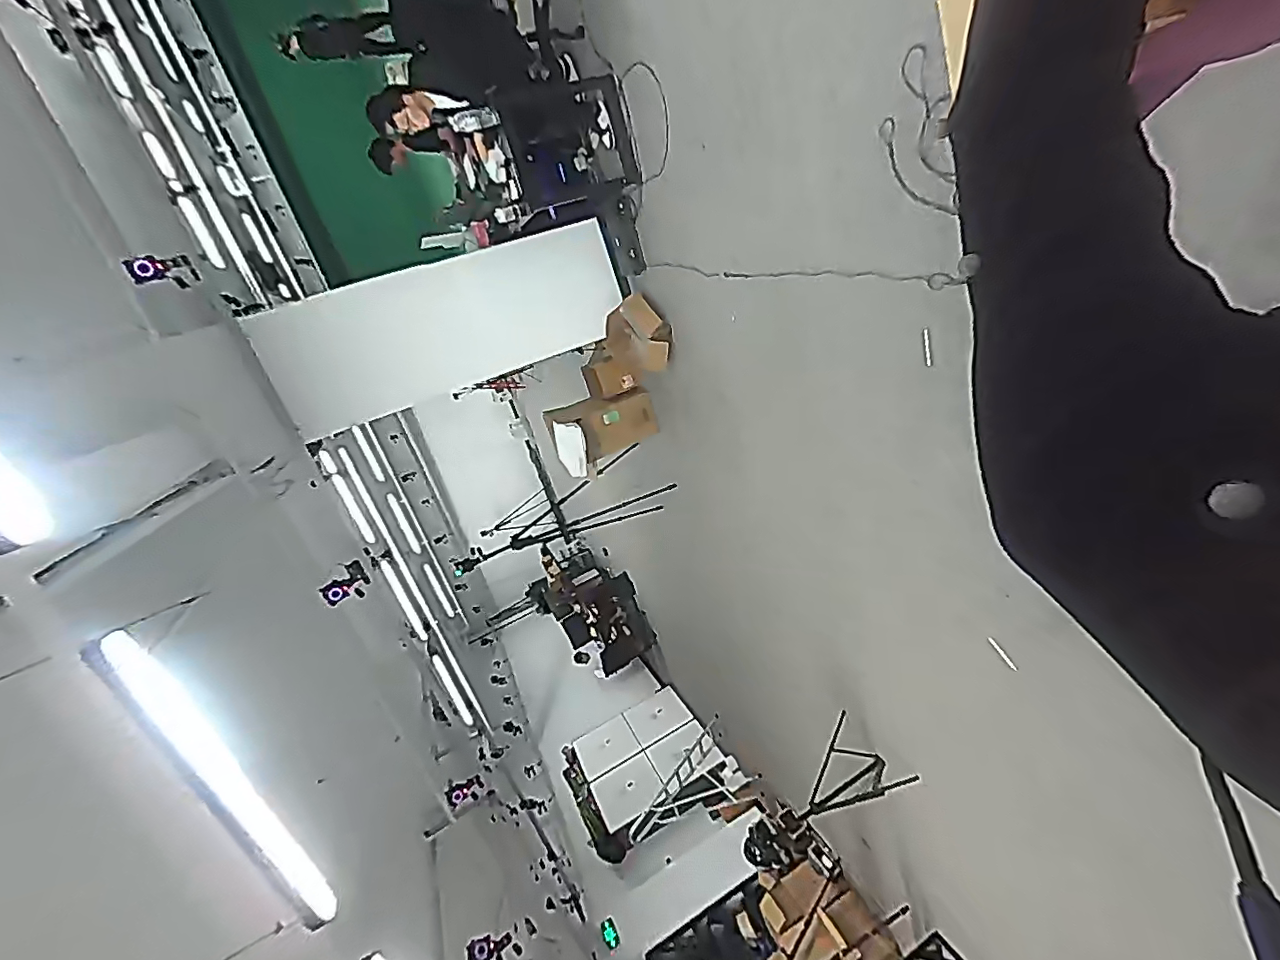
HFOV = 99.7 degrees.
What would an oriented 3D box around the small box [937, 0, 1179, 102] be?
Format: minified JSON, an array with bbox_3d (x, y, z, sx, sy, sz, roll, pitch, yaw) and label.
[{"bbox_3d":[0.490,-0.588,0.639,0.179,0.176,0.168,21,133,66],"label":"small box"}]
